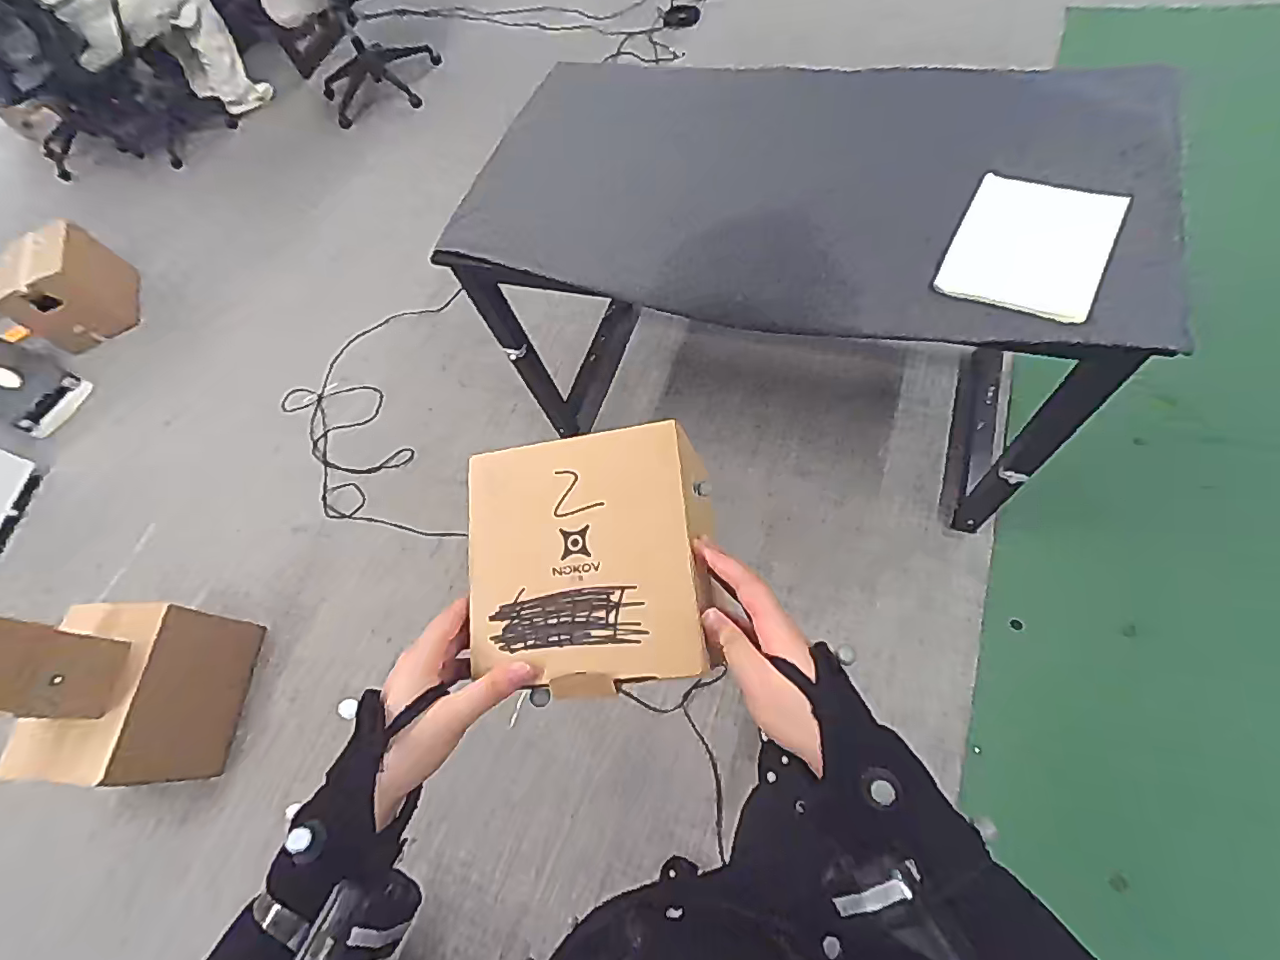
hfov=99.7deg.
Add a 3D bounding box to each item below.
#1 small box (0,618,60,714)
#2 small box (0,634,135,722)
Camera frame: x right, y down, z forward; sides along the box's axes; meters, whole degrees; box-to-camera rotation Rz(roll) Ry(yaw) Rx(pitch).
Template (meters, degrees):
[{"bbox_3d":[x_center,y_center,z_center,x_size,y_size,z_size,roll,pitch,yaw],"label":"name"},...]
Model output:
[{"bbox_3d":[-1.351,0.372,1.092,0.168,0.176,0.179,-2,65,10],"label":"small box"},{"bbox_3d":[-1.322,0.453,1.231,0.168,0.176,0.179,-3,64,10],"label":"small box"}]
